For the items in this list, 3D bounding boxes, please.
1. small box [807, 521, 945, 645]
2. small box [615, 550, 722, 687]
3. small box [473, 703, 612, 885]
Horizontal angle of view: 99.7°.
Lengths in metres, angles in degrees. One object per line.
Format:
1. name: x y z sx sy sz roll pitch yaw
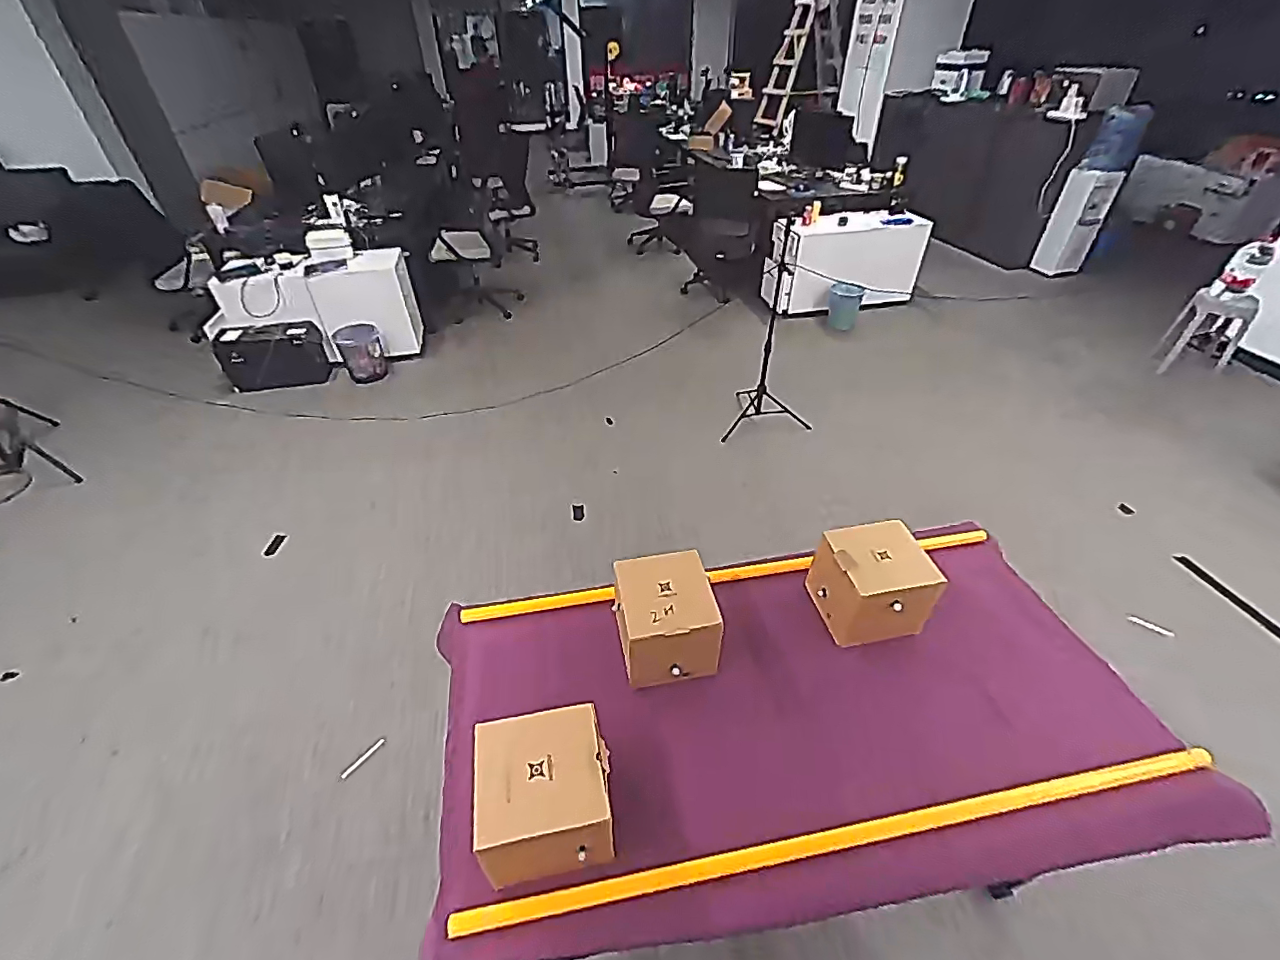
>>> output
1. small box: 0.461 0.207 1.086 0.179 0.176 0.168 -8 41 -8
2. small box: 0.046 0.261 1.027 0.168 0.176 0.179 -8 42 -8
3. small box: -0.139 0.457 0.791 0.179 0.176 0.168 -6 39 -10
